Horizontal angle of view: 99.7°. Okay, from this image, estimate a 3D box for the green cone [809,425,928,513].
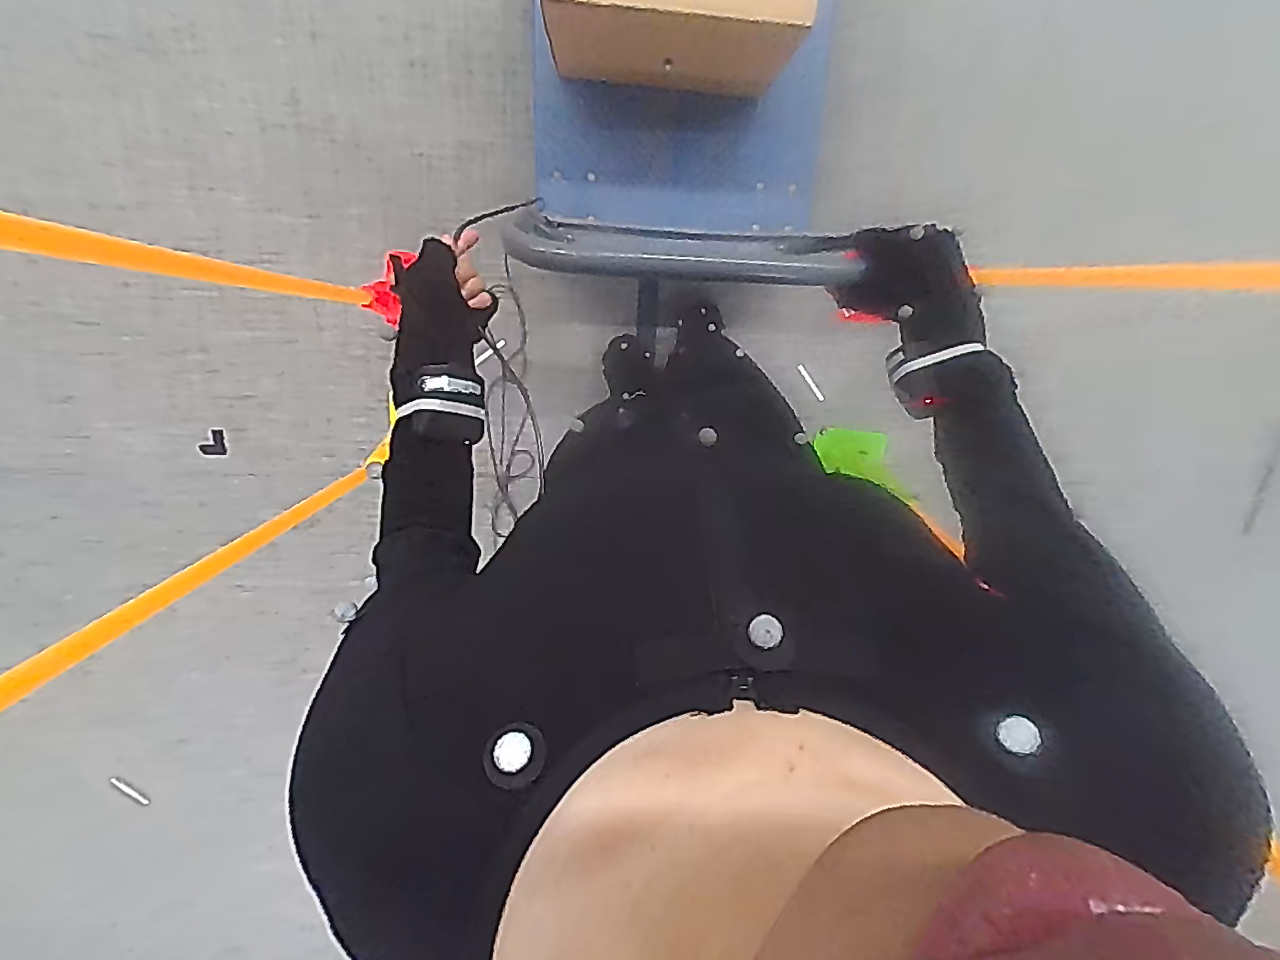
[{"bbox_3d":[0.588,0.002,1.338,0.202,0.368,0.200,4,108,-5],"label":"green cone"}]

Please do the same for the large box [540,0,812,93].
[{"bbox_3d":[0.057,-0.870,0.884,0.408,0.320,0.320,3,109,-3],"label":"large box"}]

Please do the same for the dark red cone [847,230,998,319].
[{"bbox_3d":[0.625,-0.453,1.174,0.201,0.394,0.202,0,108,-4],"label":"dark red cone"}]

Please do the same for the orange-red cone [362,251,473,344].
[{"bbox_3d":[-0.508,-0.398,1.168,0.198,0.360,0.199,8,106,-6],"label":"orange-red cone"}]
